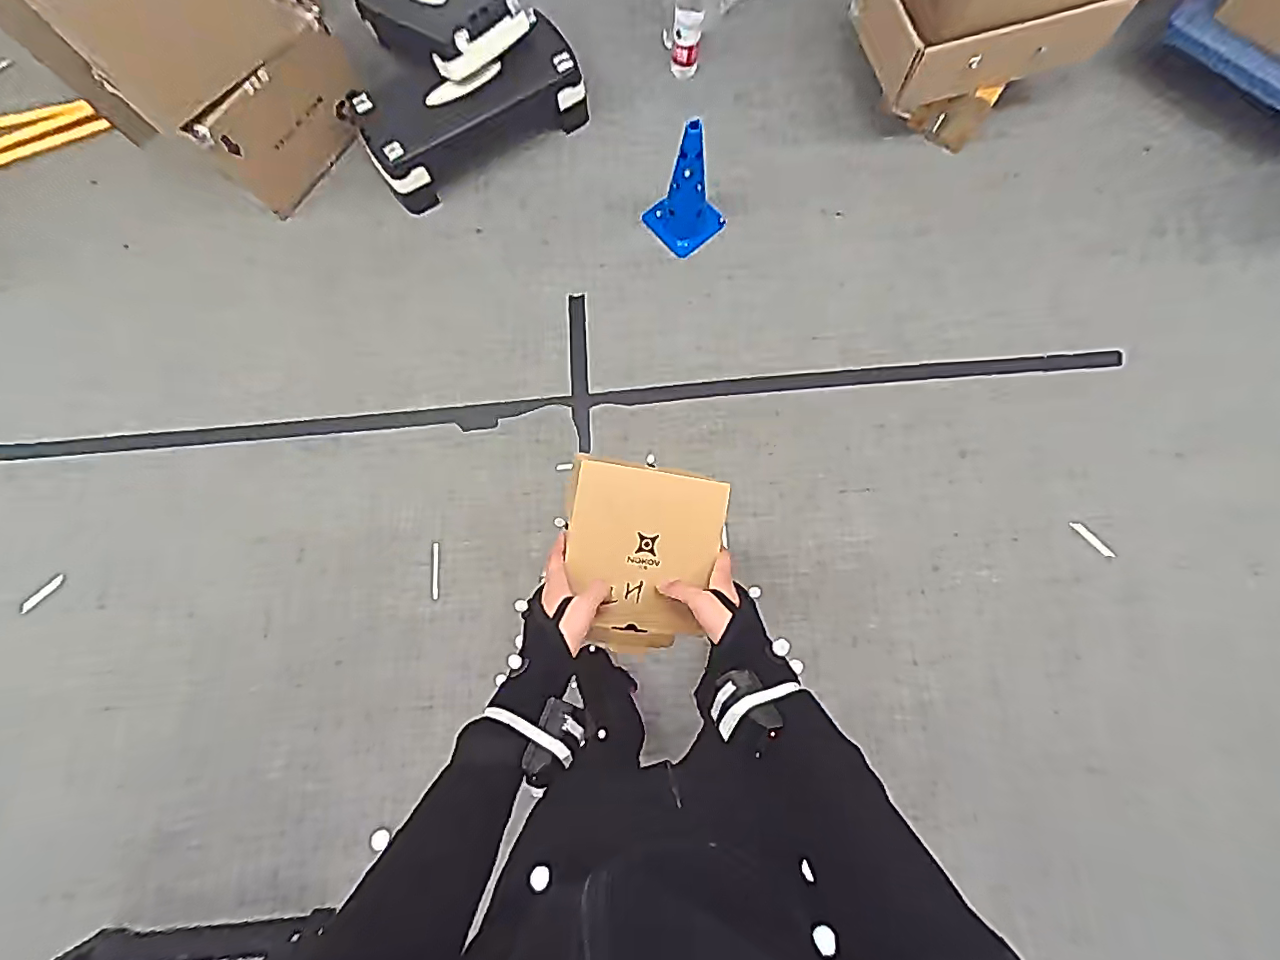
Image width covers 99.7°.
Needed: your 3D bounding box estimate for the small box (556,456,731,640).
[{"bbox_3d":[-0.007,0.070,0.653,0.168,0.176,0.179,10,94,-10],"label":"small box"}]
